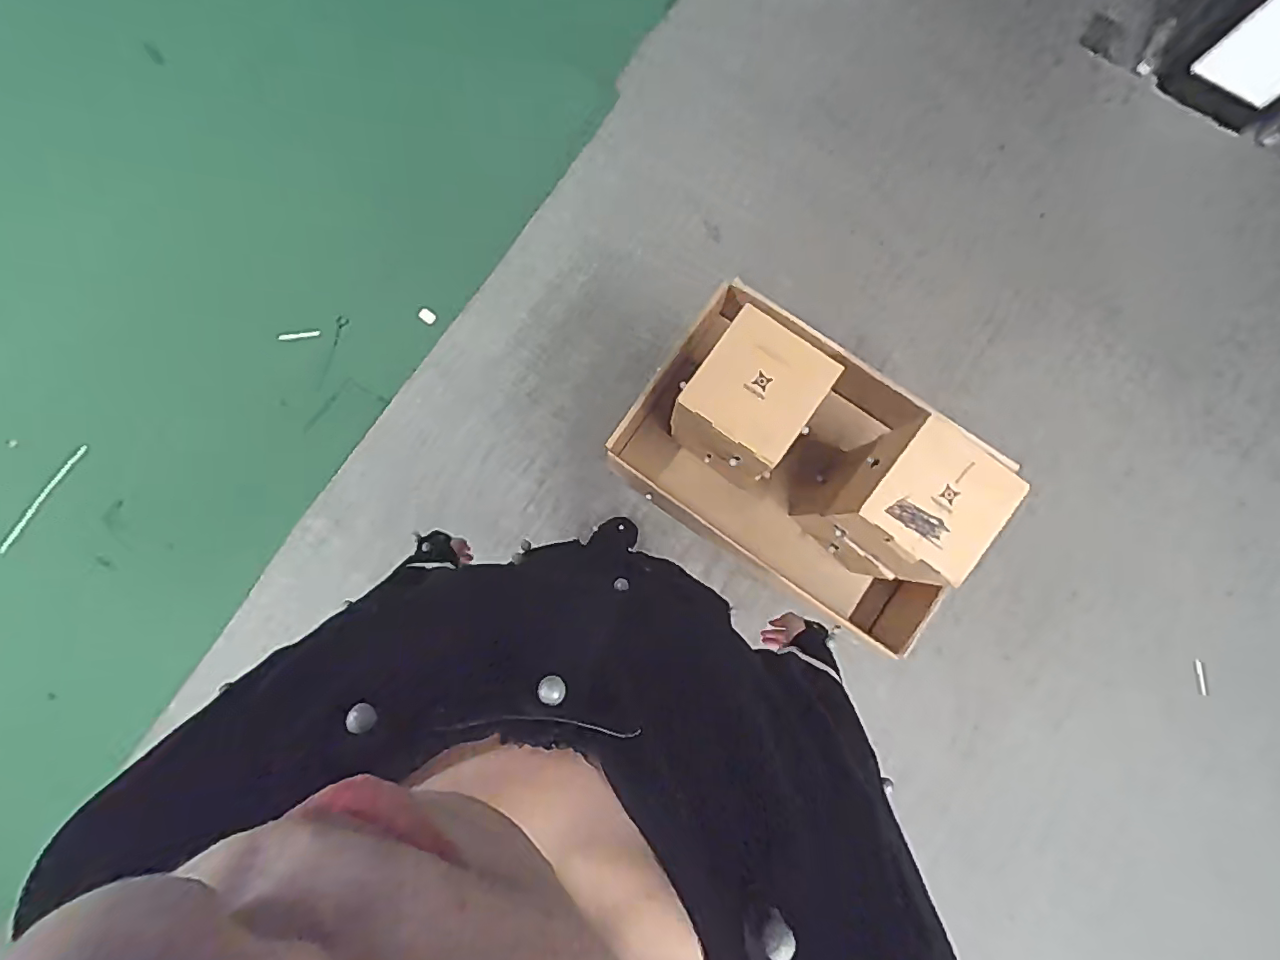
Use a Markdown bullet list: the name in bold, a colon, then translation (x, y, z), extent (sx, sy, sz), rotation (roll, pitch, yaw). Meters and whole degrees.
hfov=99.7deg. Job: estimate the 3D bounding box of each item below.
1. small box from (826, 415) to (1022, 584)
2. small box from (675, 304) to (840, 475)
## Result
- **small box**: translation (0.407, 0.033, 0.814), extent (0.168, 0.176, 0.179), rotation (39, 85, 3)
- **small box**: translation (0.166, -0.125, 0.829), extent (0.168, 0.176, 0.179), rotation (37, 85, 3)
